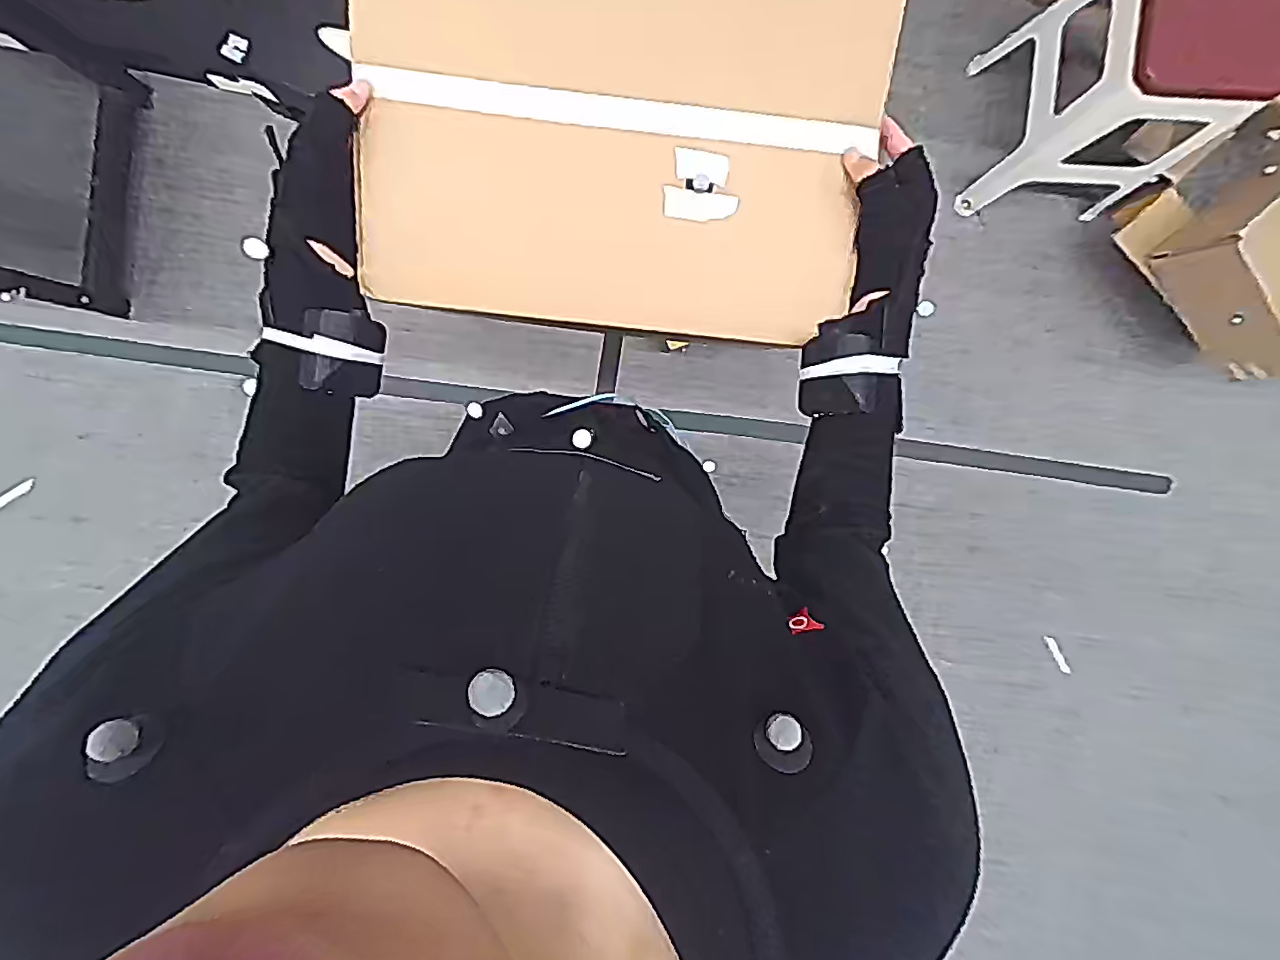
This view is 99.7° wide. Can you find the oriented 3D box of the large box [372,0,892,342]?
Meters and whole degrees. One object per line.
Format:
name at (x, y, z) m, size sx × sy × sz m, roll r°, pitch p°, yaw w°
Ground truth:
large box at (-0.018, -0.323, 0.575) m, size 0.408 × 0.320 × 0.320 m, roll 6°, pitch 105°, yaw -4°
